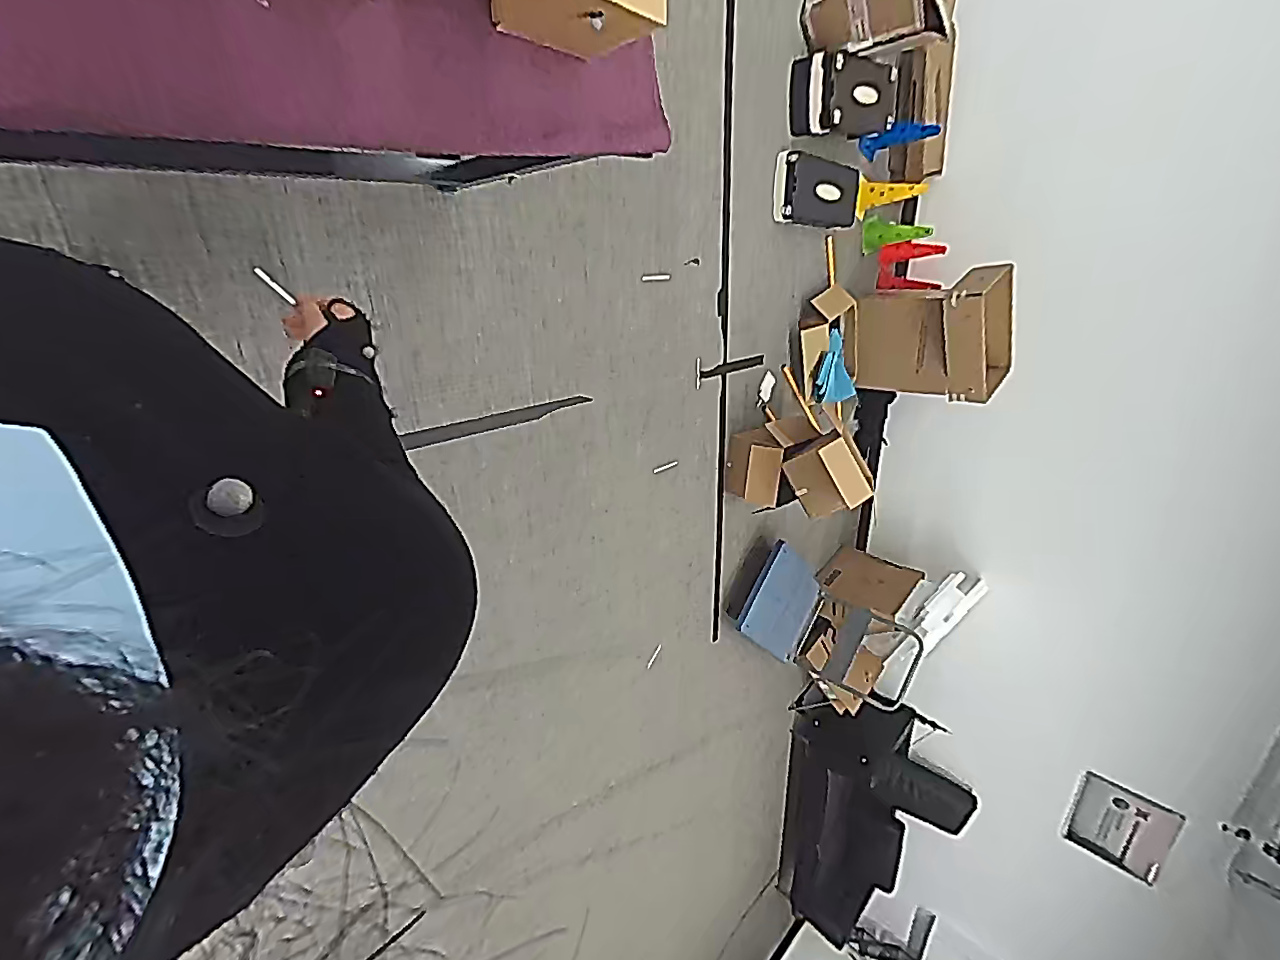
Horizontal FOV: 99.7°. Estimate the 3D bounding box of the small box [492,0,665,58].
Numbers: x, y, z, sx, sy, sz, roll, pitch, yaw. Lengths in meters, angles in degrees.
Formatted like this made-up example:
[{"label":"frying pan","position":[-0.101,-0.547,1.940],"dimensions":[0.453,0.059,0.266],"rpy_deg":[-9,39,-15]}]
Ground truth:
[{"label":"small box","position":[-0.082,-0.700,0.724],"dimensions":[0.179,0.176,0.168],"rpy_deg":[-19,117,-41]}]
